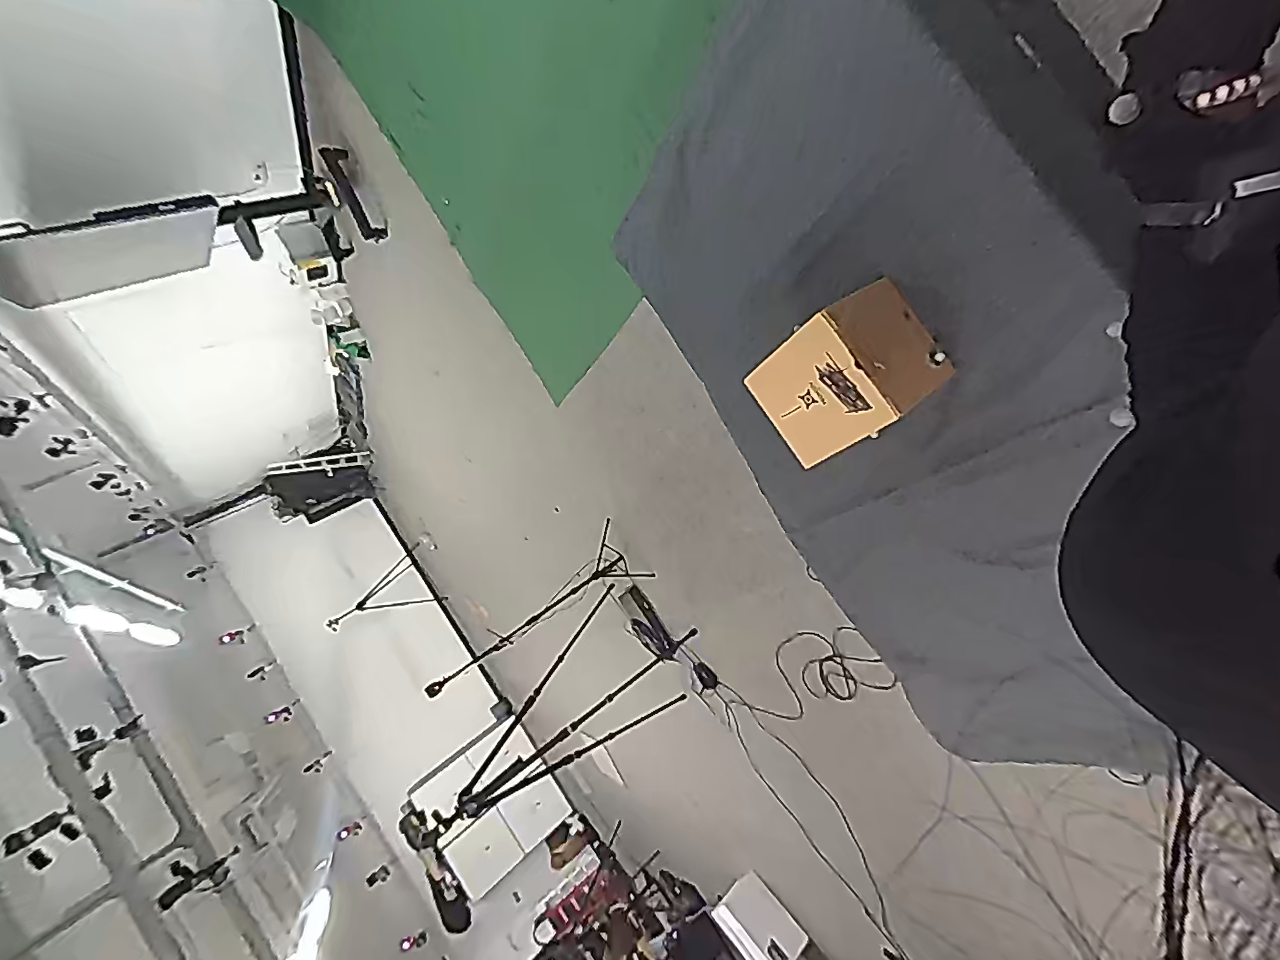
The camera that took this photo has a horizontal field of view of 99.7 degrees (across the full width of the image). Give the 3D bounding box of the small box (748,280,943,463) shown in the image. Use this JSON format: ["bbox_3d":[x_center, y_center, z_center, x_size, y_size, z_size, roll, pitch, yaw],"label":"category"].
[{"bbox_3d":[0.299,-0.156,0.777,0.168,0.176,0.179,56,150,4],"label":"small box"}]
